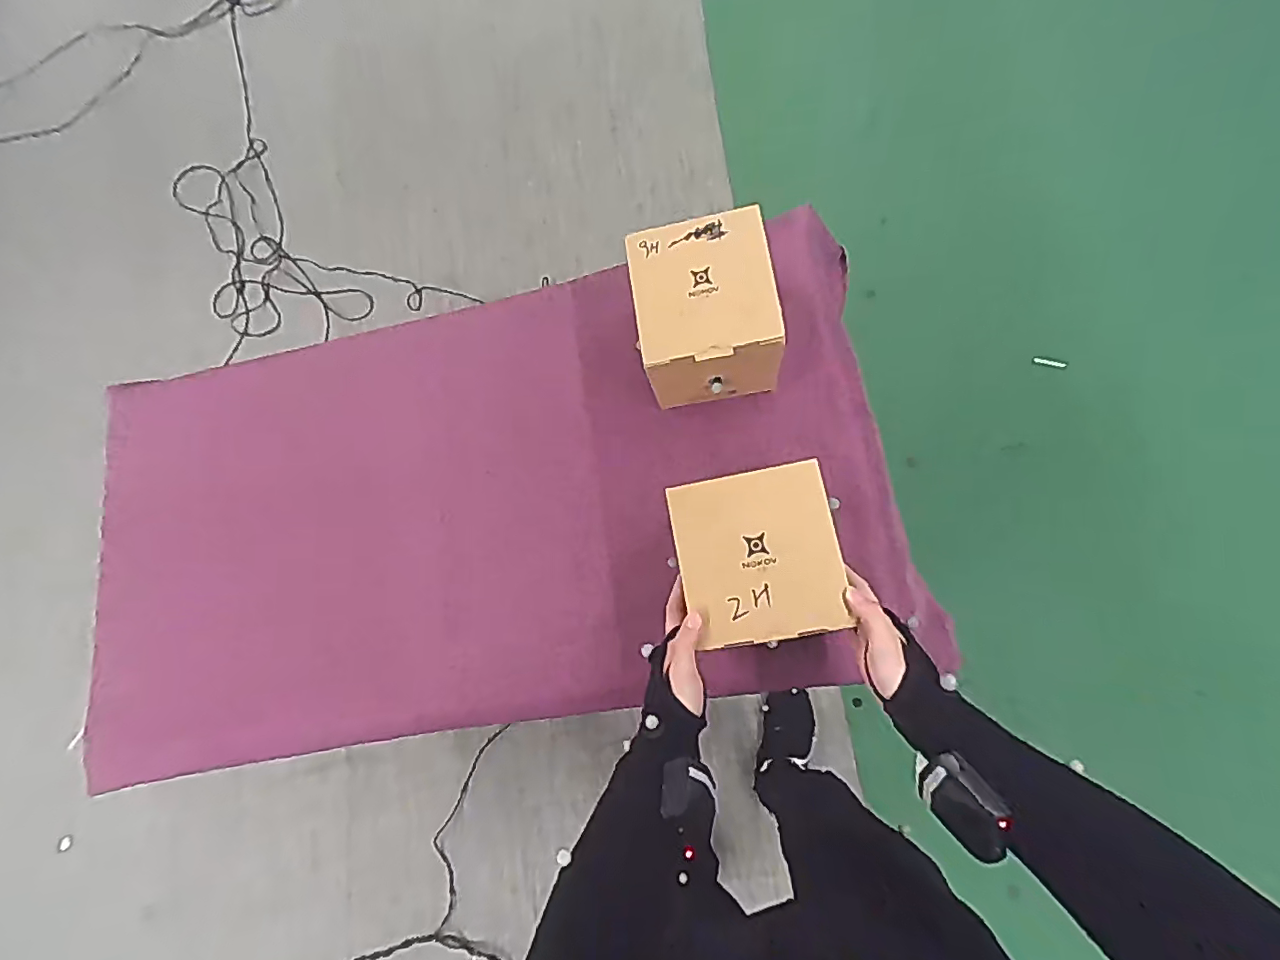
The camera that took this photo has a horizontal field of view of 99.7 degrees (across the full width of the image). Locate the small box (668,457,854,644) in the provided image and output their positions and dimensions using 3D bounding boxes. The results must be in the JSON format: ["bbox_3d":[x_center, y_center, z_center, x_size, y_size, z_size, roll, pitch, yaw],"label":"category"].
[{"bbox_3d":[0.134,0.089,0.638,0.168,0.176,0.179,-11,76,9],"label":"small box"}]

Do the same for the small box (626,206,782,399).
[{"bbox_3d":[0.086,-0.215,0.712,0.168,0.176,0.179,-9,79,8],"label":"small box"}]
